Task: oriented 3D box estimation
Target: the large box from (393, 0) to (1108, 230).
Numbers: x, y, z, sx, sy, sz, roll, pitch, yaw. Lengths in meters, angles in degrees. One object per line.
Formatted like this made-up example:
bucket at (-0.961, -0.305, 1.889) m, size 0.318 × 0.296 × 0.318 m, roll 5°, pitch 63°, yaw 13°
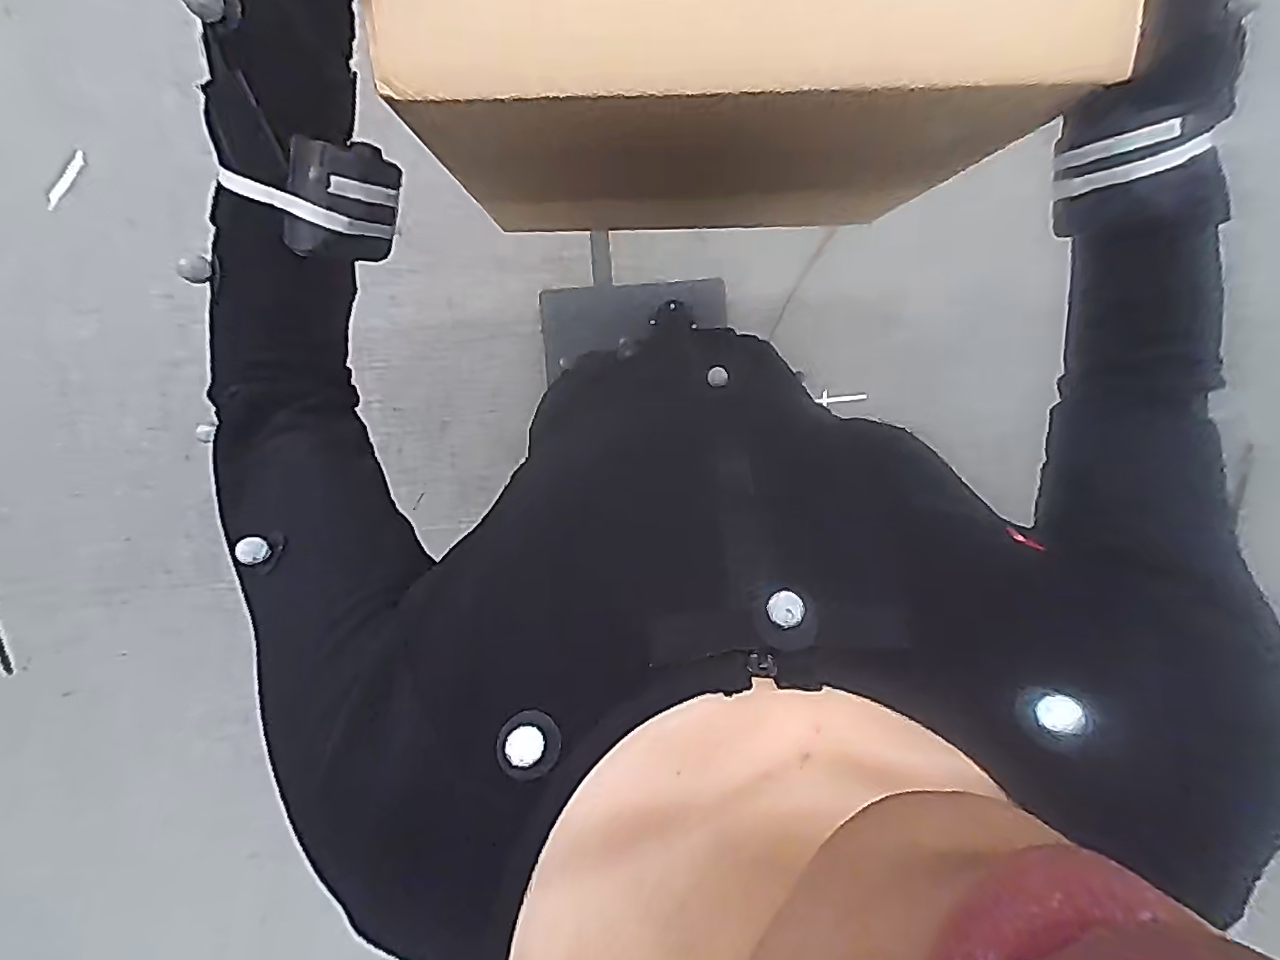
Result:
large box at (0.051, -0.403, 0.419) m, size 0.408 × 0.320 × 0.320 m, roll -3°, pitch 103°, yaw -2°

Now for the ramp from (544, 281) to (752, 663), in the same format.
ramp at (0.021, -0.016, 1.460) m, size 0.509 × 0.206 × 0.991 m, roll -6°, pitch 102°, yaw 1°
